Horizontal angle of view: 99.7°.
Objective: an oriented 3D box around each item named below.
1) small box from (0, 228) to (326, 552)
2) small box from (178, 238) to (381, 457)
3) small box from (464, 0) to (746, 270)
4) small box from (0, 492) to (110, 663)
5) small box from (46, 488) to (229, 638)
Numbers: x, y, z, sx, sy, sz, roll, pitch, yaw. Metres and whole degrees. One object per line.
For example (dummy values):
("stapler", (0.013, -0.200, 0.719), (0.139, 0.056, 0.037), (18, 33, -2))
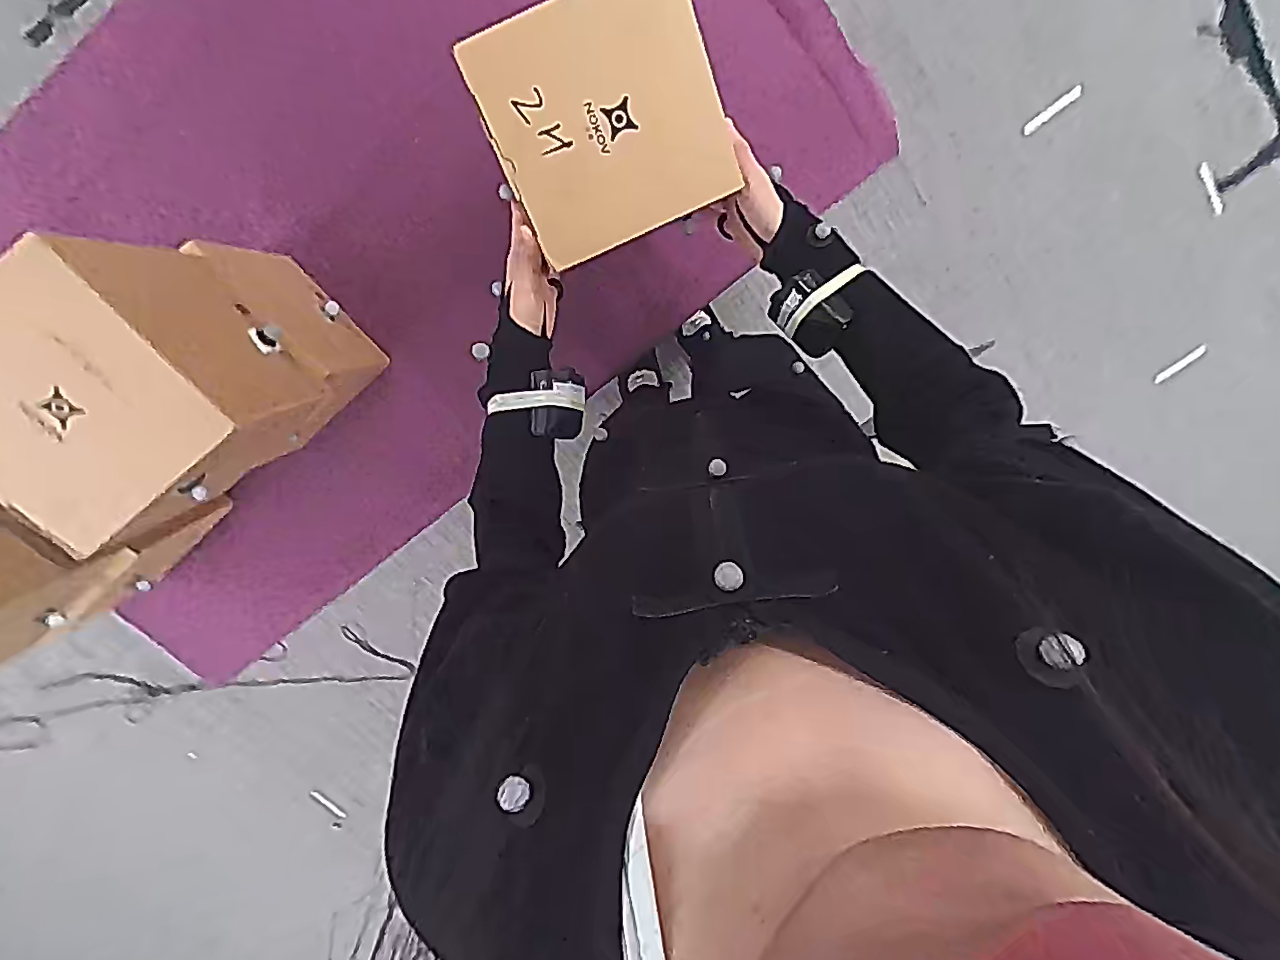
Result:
("small box", (-0.415, -0.077, 0.457), (0.179, 0.176, 0.168), (-37, 107, 7))
("small box", (-0.432, -0.136, 0.607), (0.179, 0.176, 0.168), (-40, 106, 8))
("small box", (-0.031, -0.305, 0.485), (0.179, 0.176, 0.168), (-23, 113, 1))
("small box", (-0.661, 0.092, 0.495), (0.179, 0.176, 0.168), (-43, 104, 9))
("small box", (-0.661, 0.044, 0.652), (0.168, 0.176, 0.179), (-41, 105, 9))
